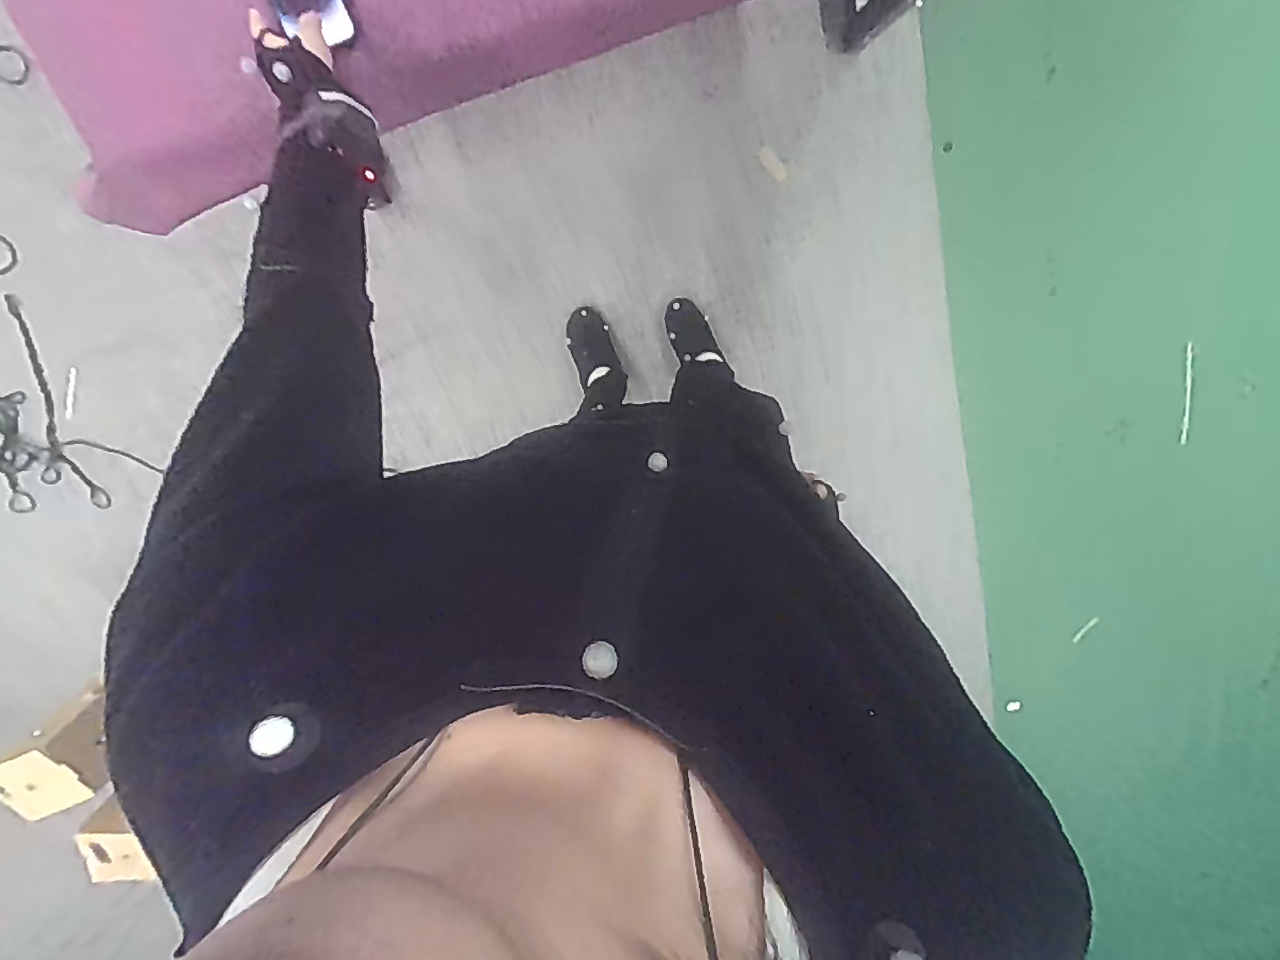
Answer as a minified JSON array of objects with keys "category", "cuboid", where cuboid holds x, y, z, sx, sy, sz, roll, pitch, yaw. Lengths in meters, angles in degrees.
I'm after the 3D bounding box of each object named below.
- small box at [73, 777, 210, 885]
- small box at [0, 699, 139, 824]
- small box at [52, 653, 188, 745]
[{"category":"small box","cuboid":[-1.240,0.875,1.359,0.179,0.176,0.168,2,110,-5]},{"category":"small box","cuboid":[-1.340,0.647,1.263,0.179,0.176,0.168,-23,111,3]},{"category":"small box","cuboid":[-1.356,0.593,1.416,0.168,0.176,0.179,-30,111,6]}]
